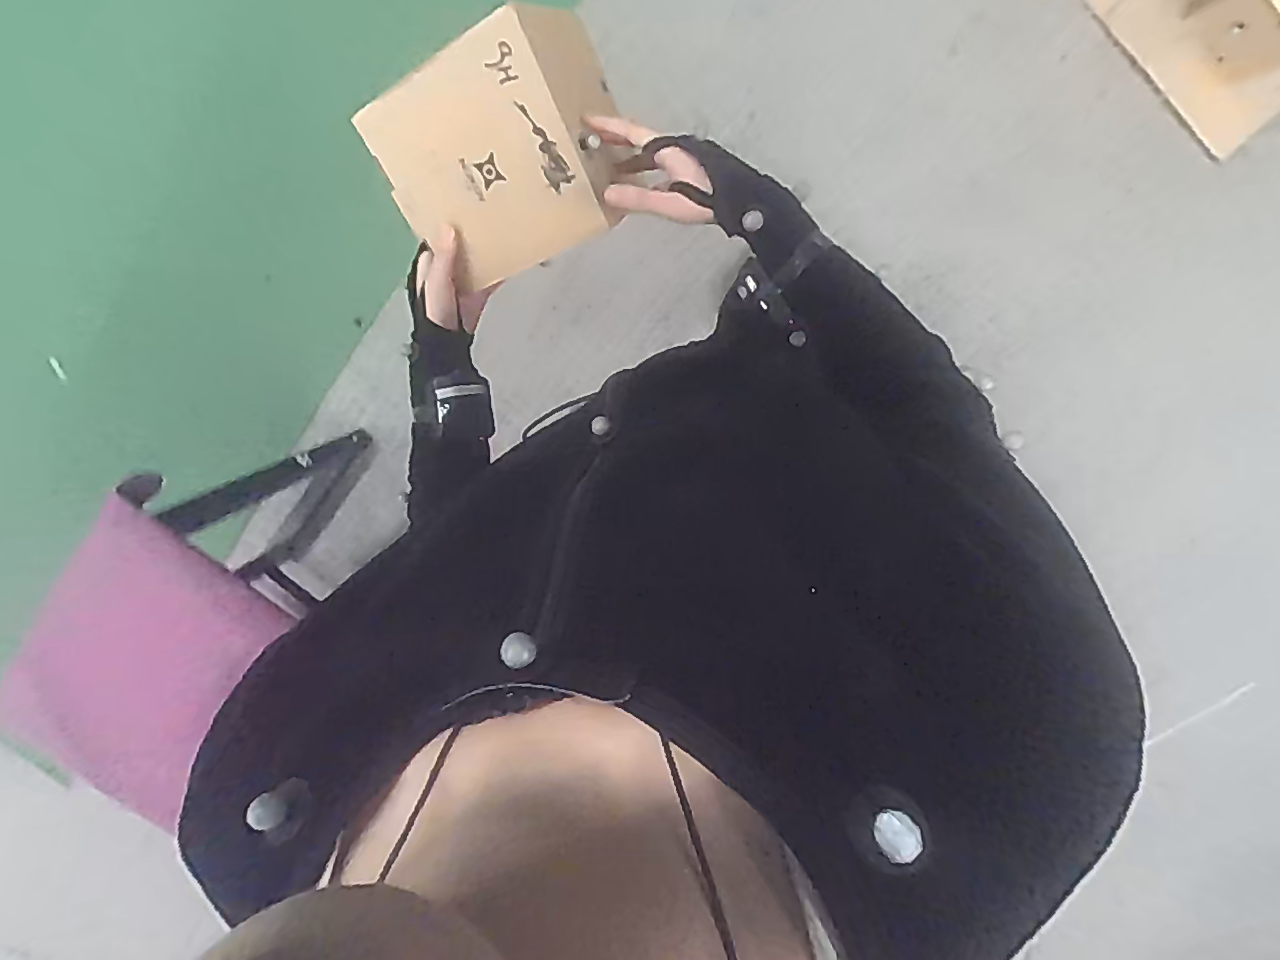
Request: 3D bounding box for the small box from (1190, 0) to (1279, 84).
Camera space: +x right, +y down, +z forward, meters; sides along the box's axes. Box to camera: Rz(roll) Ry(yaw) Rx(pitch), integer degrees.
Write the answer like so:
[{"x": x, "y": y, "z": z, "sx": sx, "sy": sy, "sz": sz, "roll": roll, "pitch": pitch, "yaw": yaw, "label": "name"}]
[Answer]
[{"x": 1.181, "y": -0.881, "z": 0.989, "sx": 0.179, "sy": 0.176, "sz": 0.168, "roll": -42, "pitch": 101, "yaw": 17, "label": "small box"}]
